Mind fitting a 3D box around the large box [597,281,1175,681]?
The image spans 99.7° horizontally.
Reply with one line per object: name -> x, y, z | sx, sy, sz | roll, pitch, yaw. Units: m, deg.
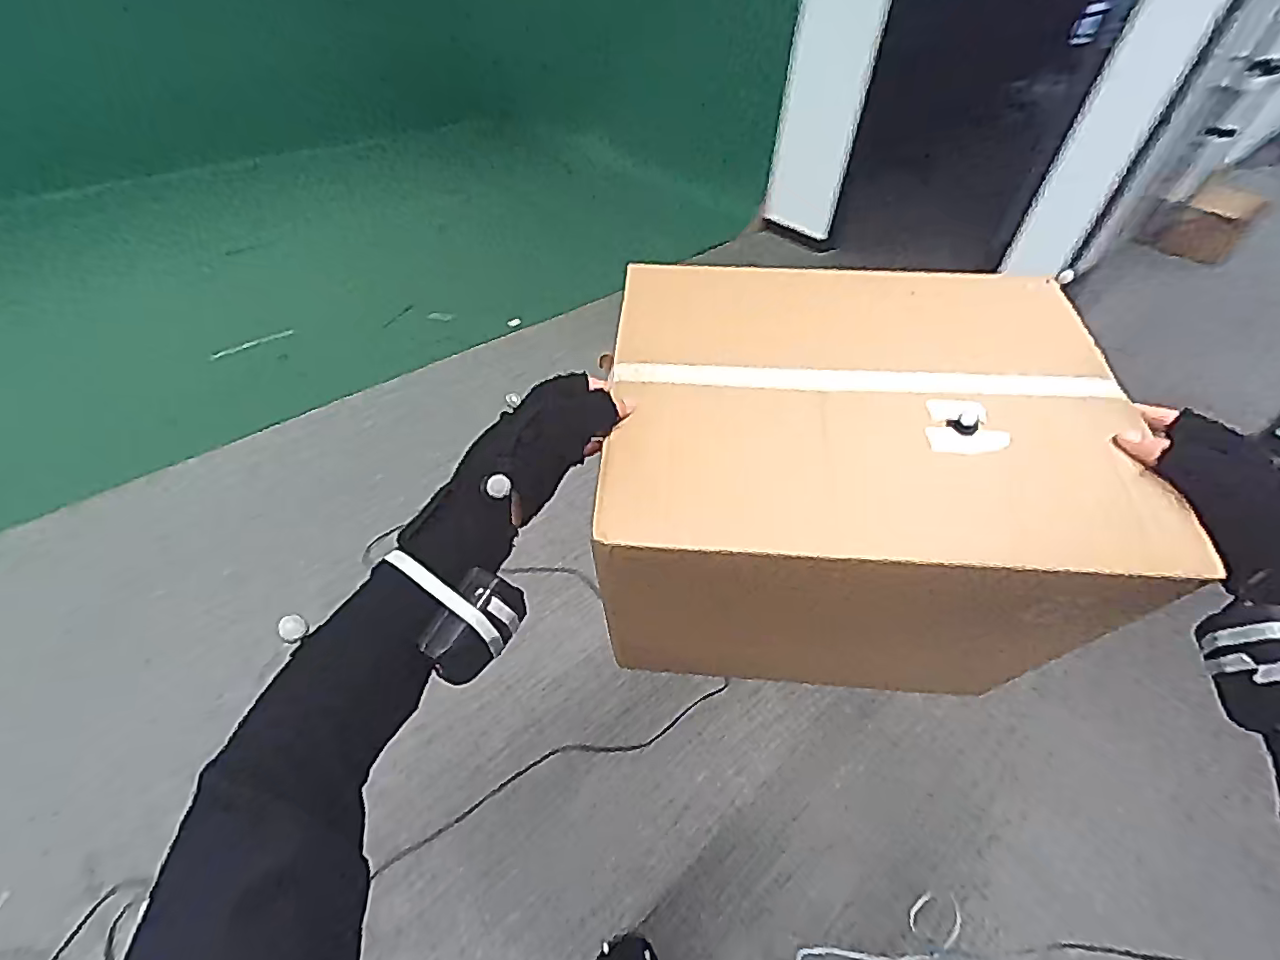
large box -> 0.173, 0.012, 0.577 | 0.408, 0.320, 0.320 | 2, 56, 2
